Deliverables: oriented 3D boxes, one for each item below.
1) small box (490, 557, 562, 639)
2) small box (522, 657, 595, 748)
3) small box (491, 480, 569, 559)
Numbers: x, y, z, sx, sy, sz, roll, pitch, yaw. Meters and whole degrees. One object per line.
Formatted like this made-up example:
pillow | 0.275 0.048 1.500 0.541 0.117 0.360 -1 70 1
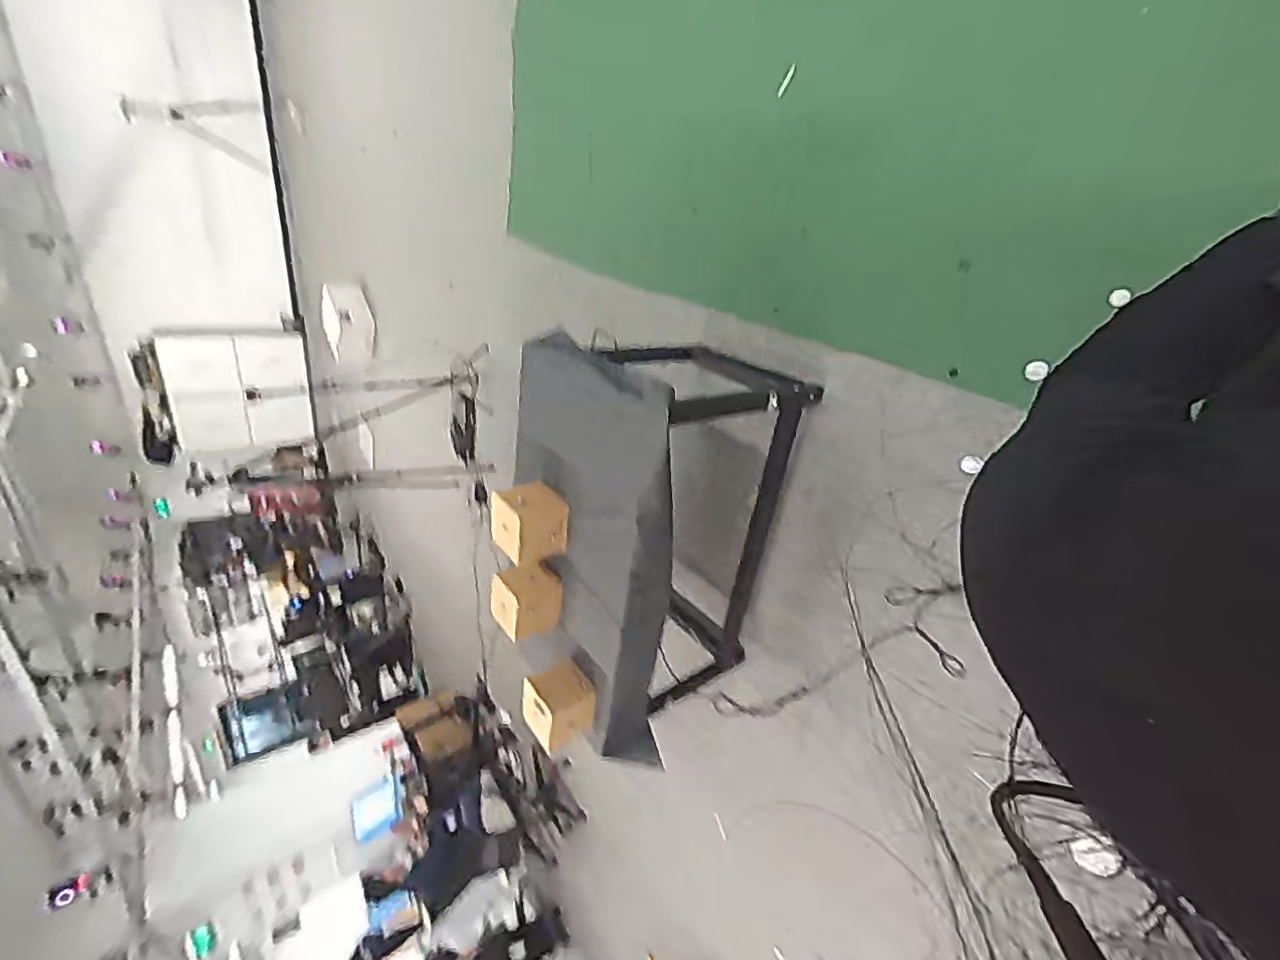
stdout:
small box | -0.372 0.376 1.767 0.168 0.176 0.179 35 126 39
small box | -0.260 0.700 1.724 0.168 0.176 0.179 34 126 41
small box | -0.339 0.112 1.653 0.179 0.176 0.168 33 125 40
